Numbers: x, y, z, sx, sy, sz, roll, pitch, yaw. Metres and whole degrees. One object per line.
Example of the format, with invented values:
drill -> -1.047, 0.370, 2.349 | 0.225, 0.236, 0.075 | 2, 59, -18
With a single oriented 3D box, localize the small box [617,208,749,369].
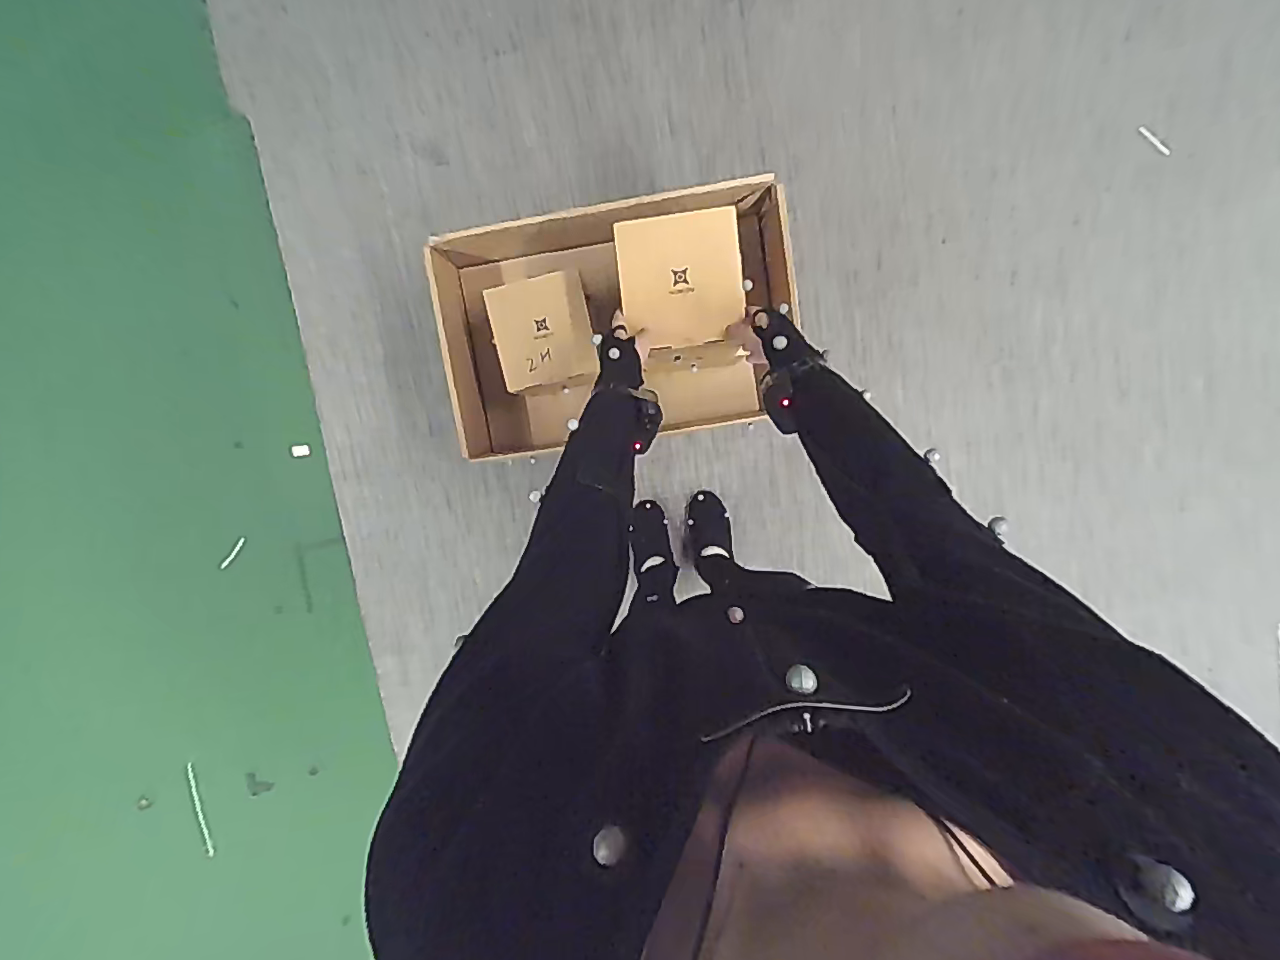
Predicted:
small box -> 0.061, -0.270, 0.799 | 0.168, 0.176, 0.179 | -6, 94, 5
